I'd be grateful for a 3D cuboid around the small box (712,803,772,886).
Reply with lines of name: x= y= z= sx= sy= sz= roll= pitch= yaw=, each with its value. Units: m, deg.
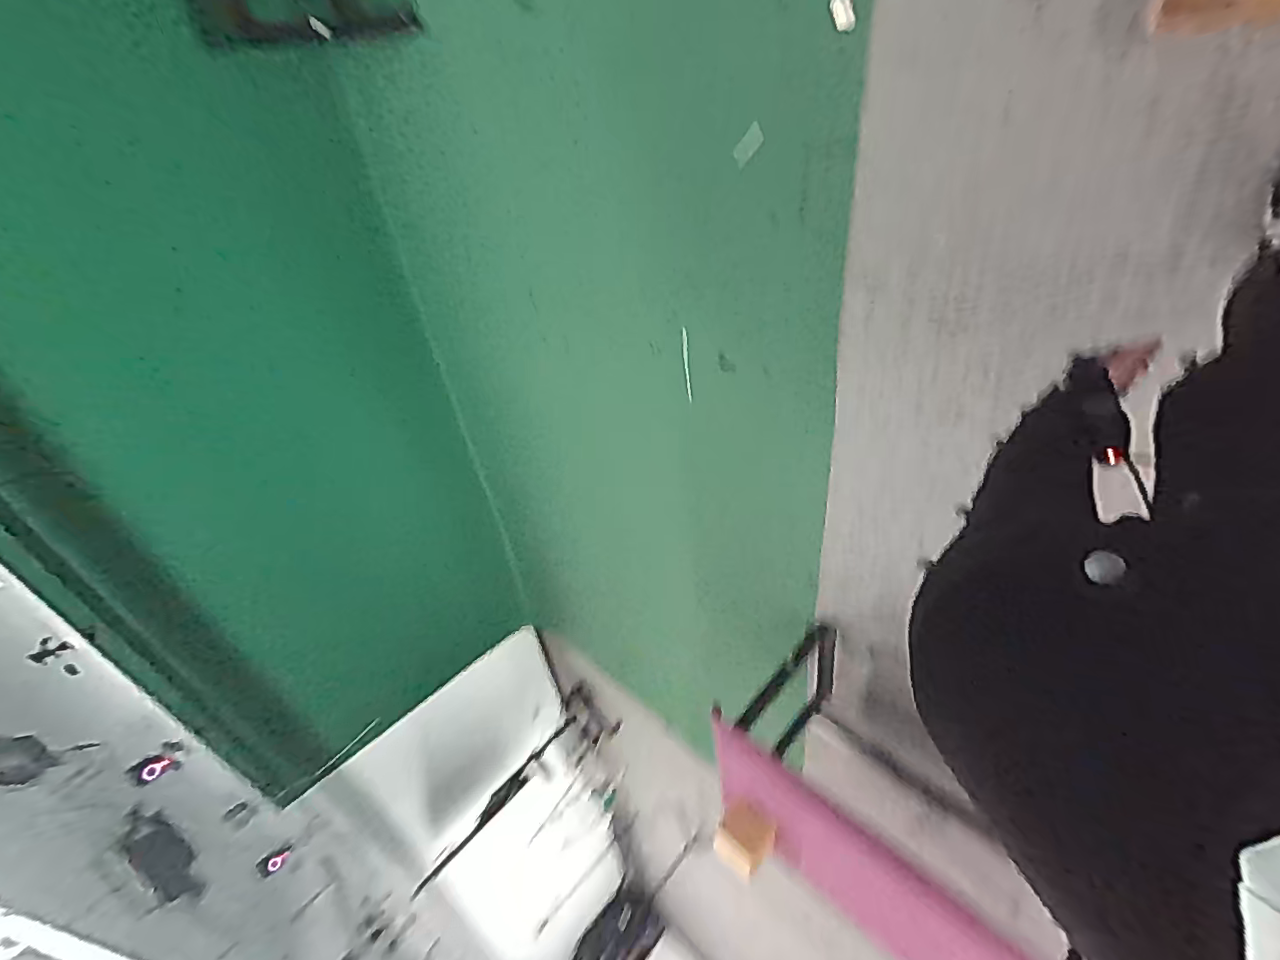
small box: x=0.393 y=1.395 z=2.075 sx=0.168 sy=0.176 sz=0.179 roll=24 pitch=136 yaw=37
